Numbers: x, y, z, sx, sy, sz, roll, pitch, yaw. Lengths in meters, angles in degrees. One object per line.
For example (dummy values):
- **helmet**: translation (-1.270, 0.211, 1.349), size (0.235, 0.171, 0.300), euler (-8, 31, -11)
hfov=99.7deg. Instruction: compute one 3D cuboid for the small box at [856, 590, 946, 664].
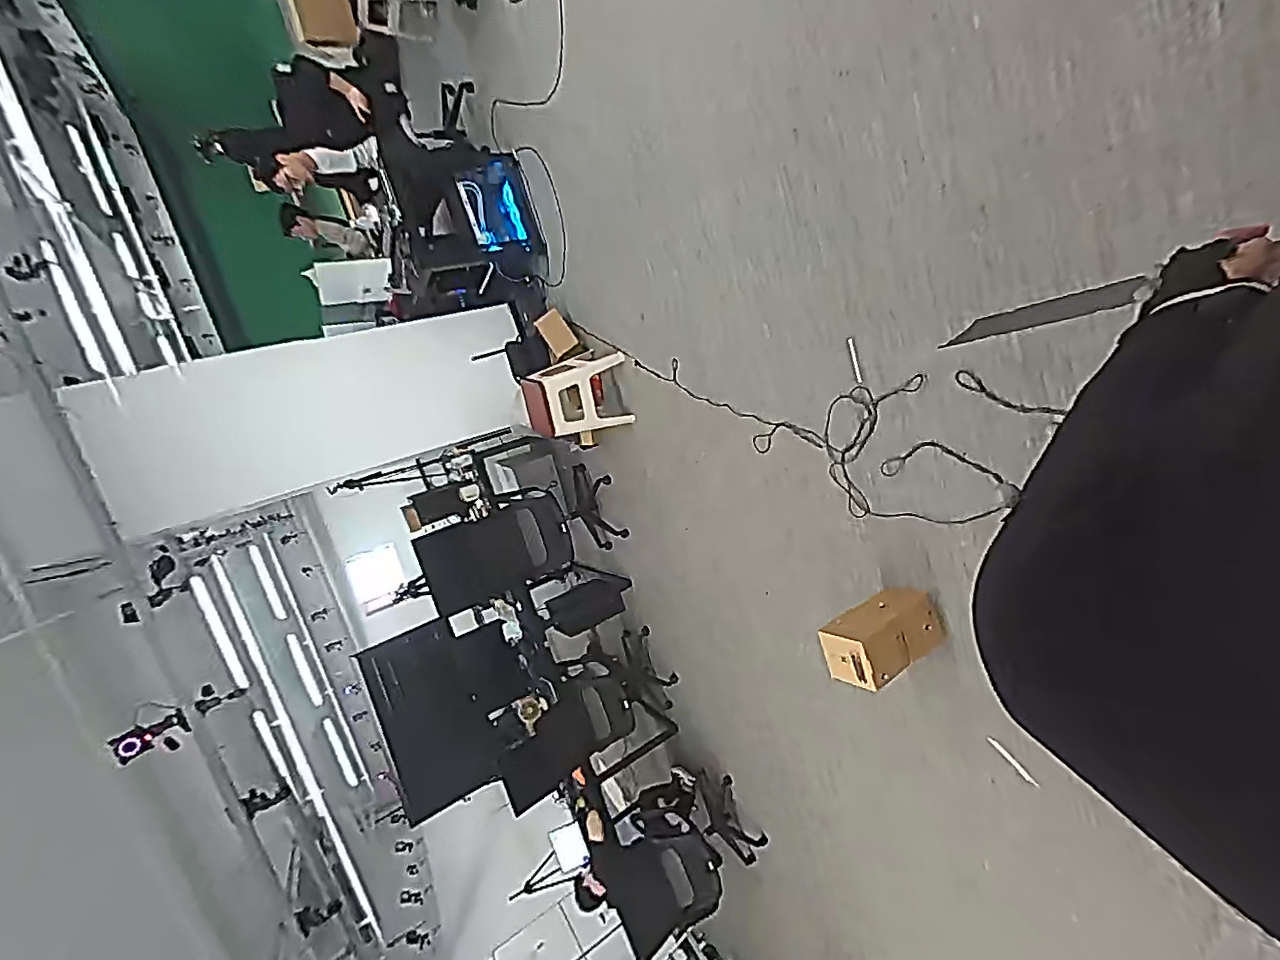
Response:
- **small box**: translation (0.843, 0.467, 1.747), size (0.179, 0.176, 0.168), euler (-17, 95, 63)
